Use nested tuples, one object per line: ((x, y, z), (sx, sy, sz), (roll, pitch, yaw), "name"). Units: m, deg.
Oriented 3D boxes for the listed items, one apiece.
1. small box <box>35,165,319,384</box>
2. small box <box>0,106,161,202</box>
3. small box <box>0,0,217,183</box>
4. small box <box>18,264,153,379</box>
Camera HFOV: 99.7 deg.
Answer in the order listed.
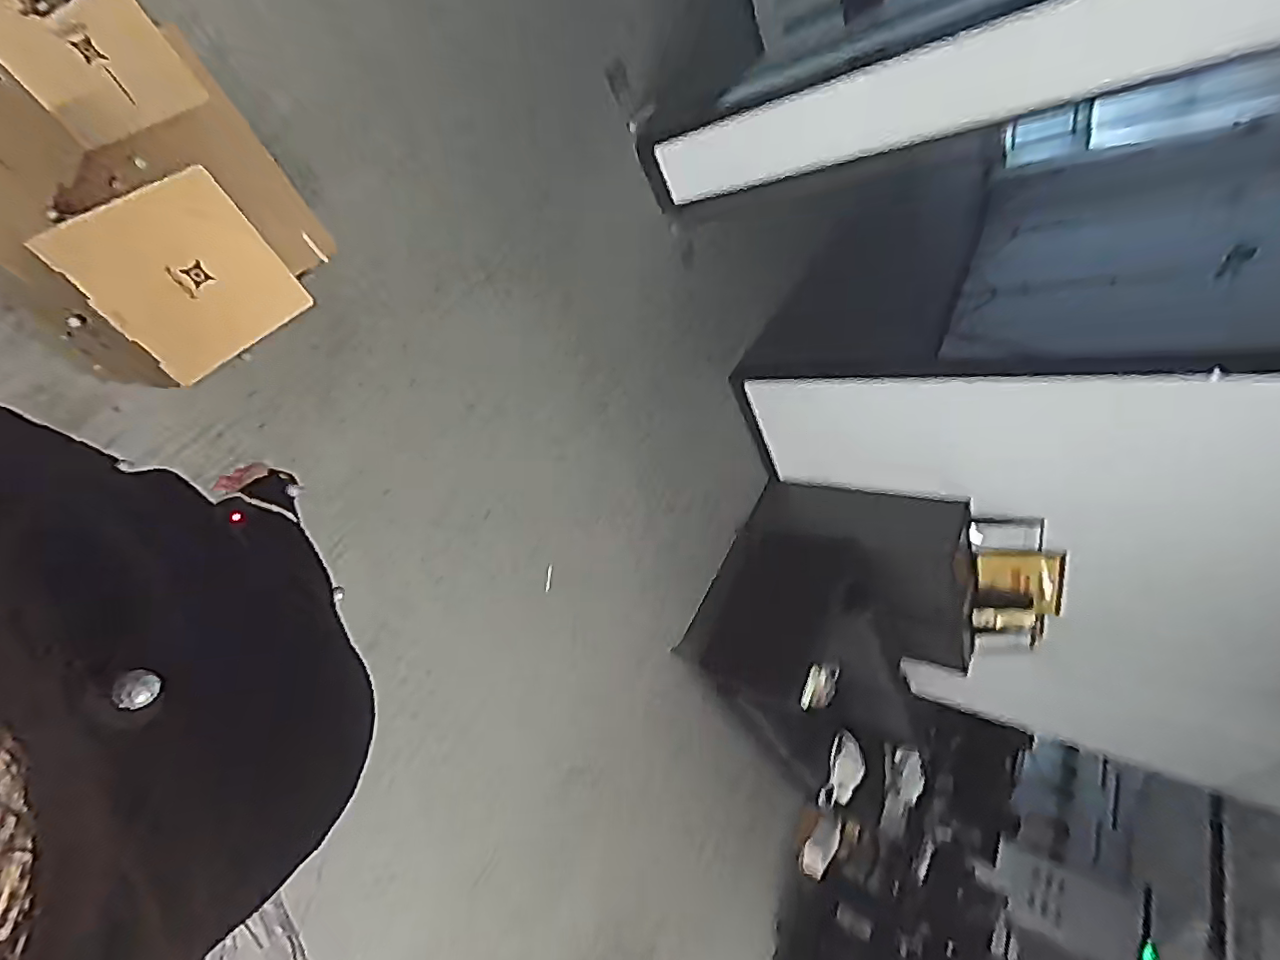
((-0.530, -0.229, 0.626), (0.179, 0.176, 0.168), (-55, 135, -30), "small box")
((-0.809, -0.522, 0.758), (0.179, 0.176, 0.168), (-56, 134, -31), "small box")
((-0.679, -0.500, 0.656), (0.168, 0.176, 0.179), (-56, 133, -29), "small box")
((-0.780, -0.274, 0.832), (0.168, 0.176, 0.179), (-57, 135, -29), "small box")
